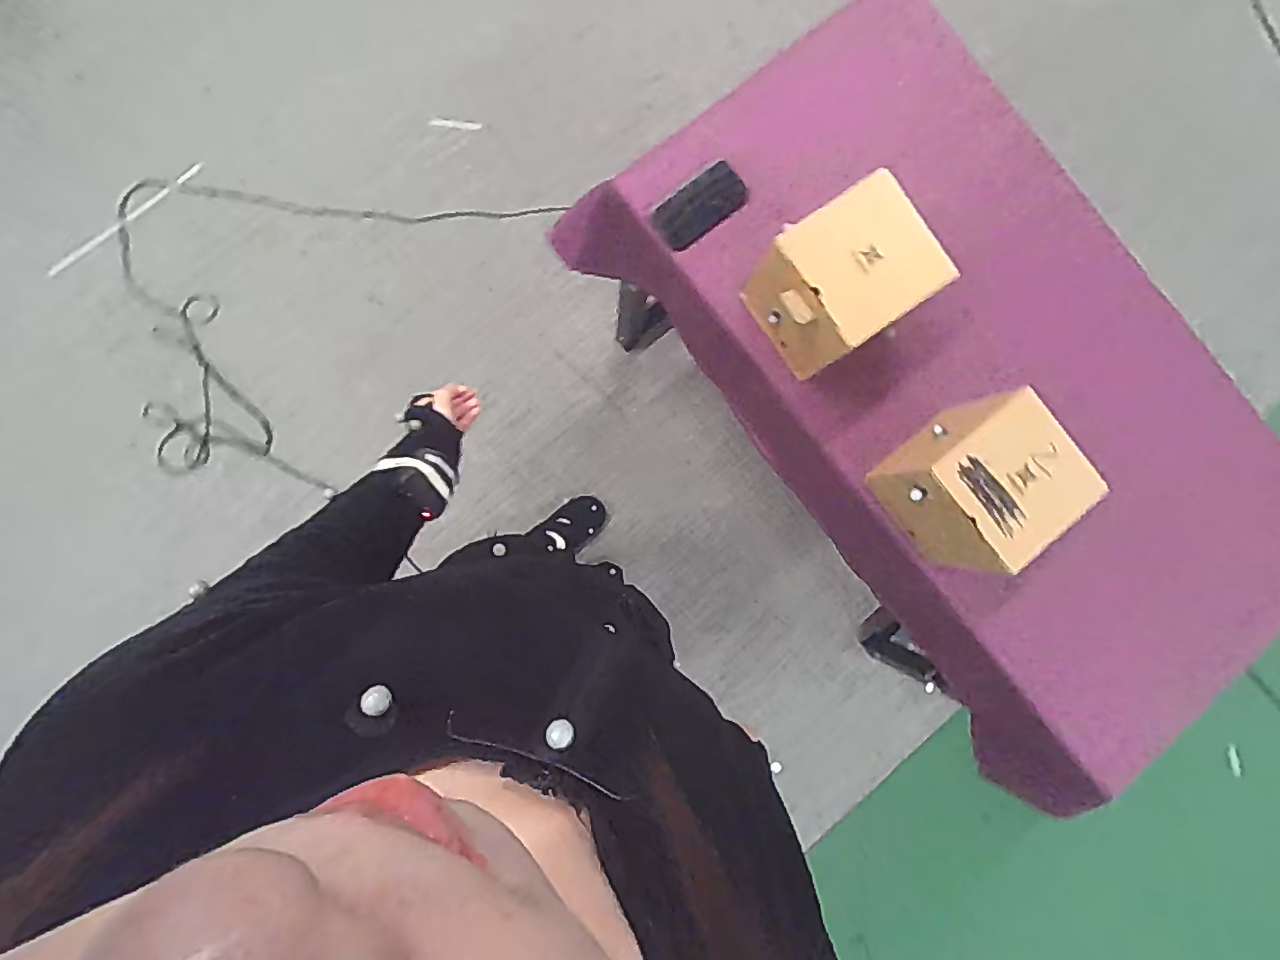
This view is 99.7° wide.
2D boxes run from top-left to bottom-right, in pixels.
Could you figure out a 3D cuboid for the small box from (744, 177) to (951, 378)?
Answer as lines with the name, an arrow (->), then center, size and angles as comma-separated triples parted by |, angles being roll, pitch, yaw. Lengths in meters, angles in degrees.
small box -> 0.274, -0.269, 0.756 | 0.179, 0.176, 0.168 | -34, 91, -5
